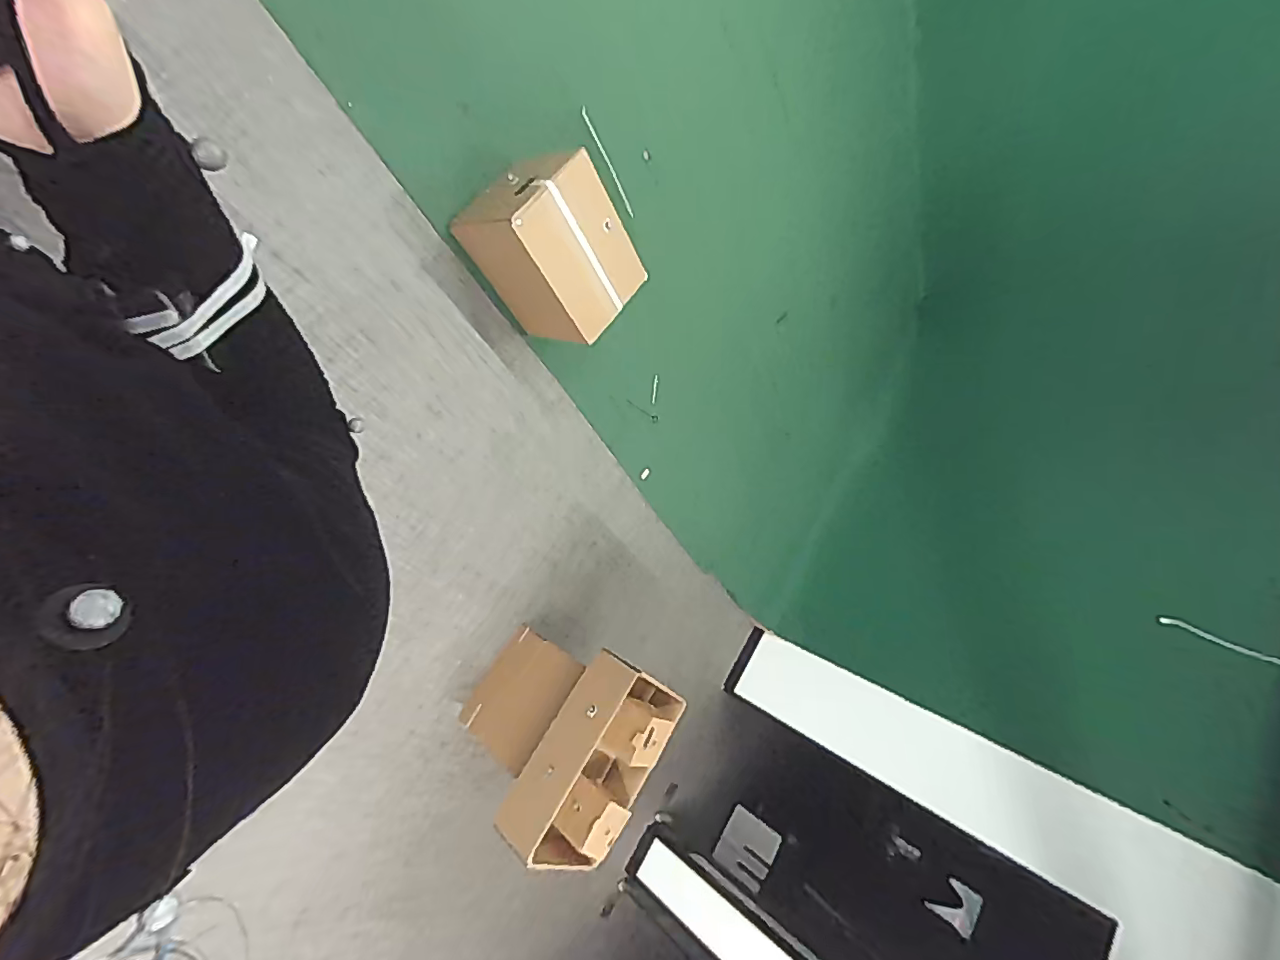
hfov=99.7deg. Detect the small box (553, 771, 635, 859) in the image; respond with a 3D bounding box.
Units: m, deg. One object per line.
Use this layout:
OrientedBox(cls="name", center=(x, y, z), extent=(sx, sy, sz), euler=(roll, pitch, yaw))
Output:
OrientedBox(cls="small box", center=(-0.154, 1.093, 1.774), extent=(0.168, 0.176, 0.179), euler=(-50, 135, -21))
